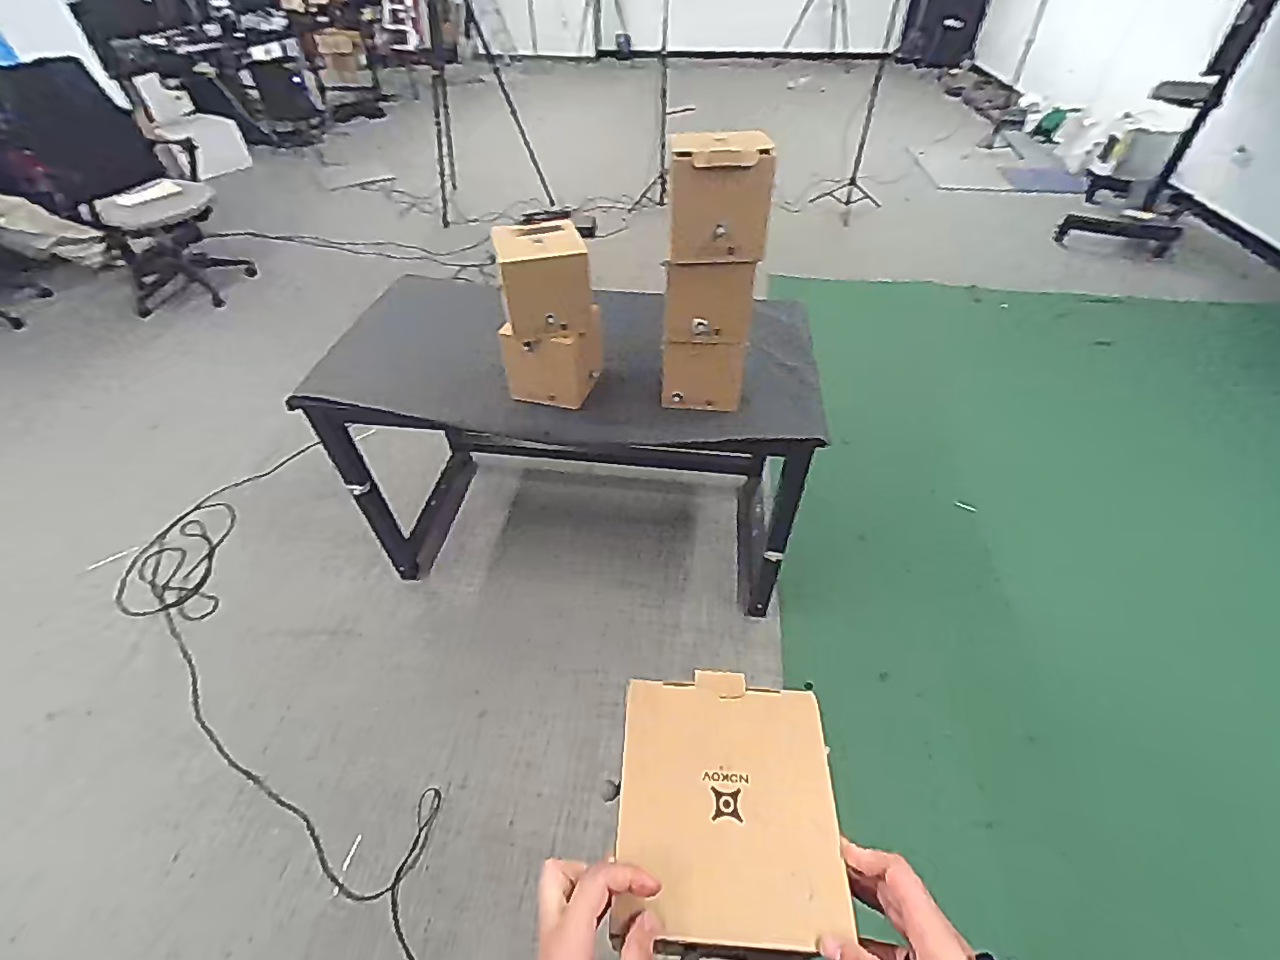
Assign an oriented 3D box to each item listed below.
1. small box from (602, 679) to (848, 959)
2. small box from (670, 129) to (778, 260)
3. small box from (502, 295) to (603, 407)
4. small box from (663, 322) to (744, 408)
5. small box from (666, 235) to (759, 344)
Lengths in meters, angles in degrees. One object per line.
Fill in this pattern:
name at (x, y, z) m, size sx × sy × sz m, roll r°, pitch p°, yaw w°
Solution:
small box at (0.060, 0.296, 0.469) m, size 0.168 × 0.176 × 0.179 m, roll 3°, pitch 45°, yaw 1°
small box at (0.137, -0.502, 0.952) m, size 0.168 × 0.176 × 0.179 m, roll -1°, pitch 44°, yaw 2°
small box at (-0.187, -0.288, 1.209) m, size 0.168 × 0.176 × 0.179 m, roll 11°, pitch 45°, yaw 12°
small box at (0.142, -0.275, 1.189) m, size 0.168 × 0.176 × 0.179 m, roll 5°, pitch 43°, yaw 6°
small box at (0.138, -0.389, 1.074) m, size 0.168 × 0.176 × 0.179 m, roll 1°, pitch 45°, yaw 4°
